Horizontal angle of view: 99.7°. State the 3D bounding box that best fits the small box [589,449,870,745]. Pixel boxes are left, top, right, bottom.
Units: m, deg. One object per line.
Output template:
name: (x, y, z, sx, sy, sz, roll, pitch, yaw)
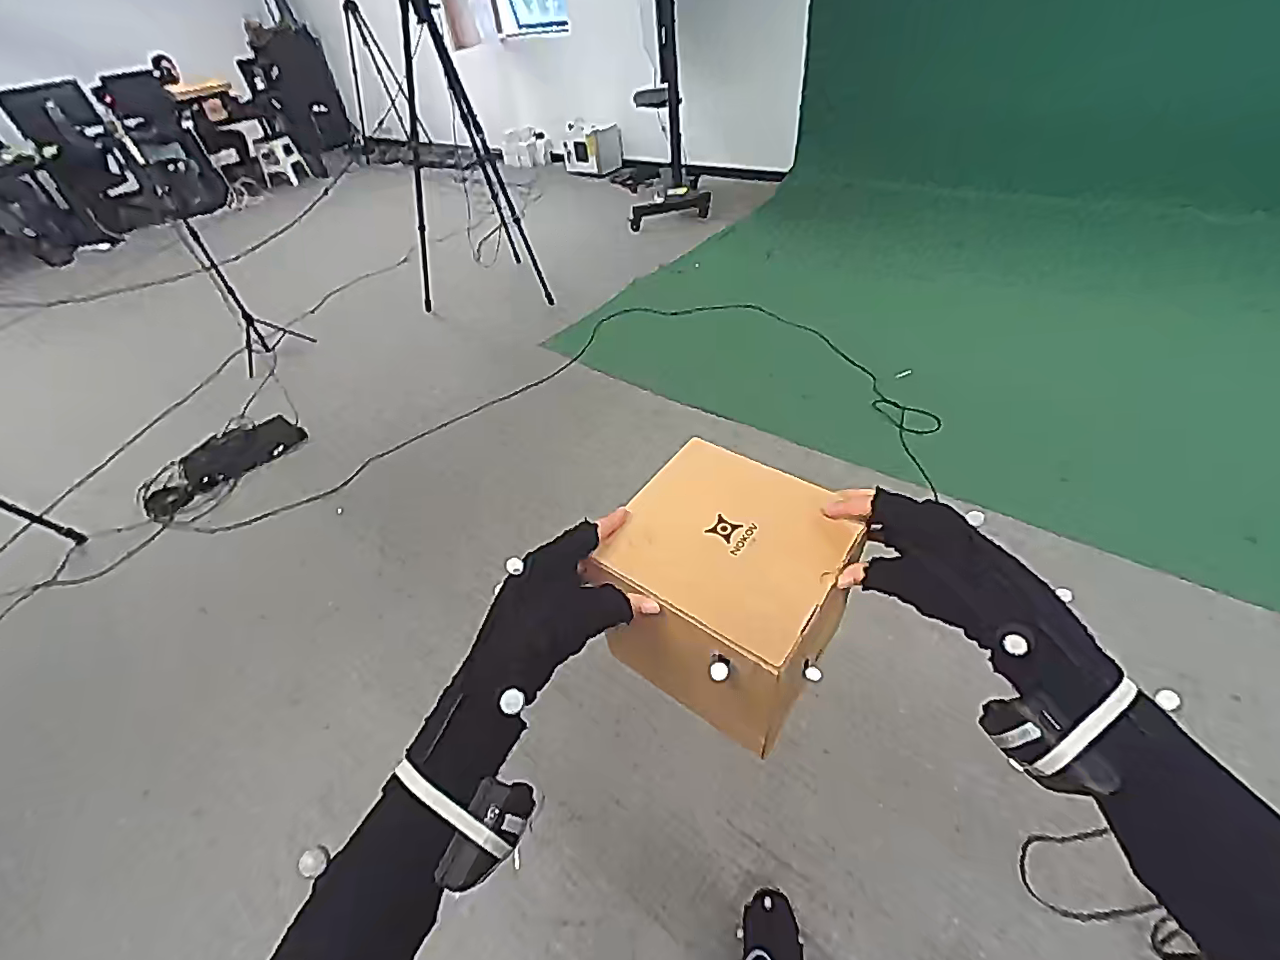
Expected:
small box: (0.078, 0.105, 0.497, 0.179, 0.176, 0.168, 26, 53, 29)
